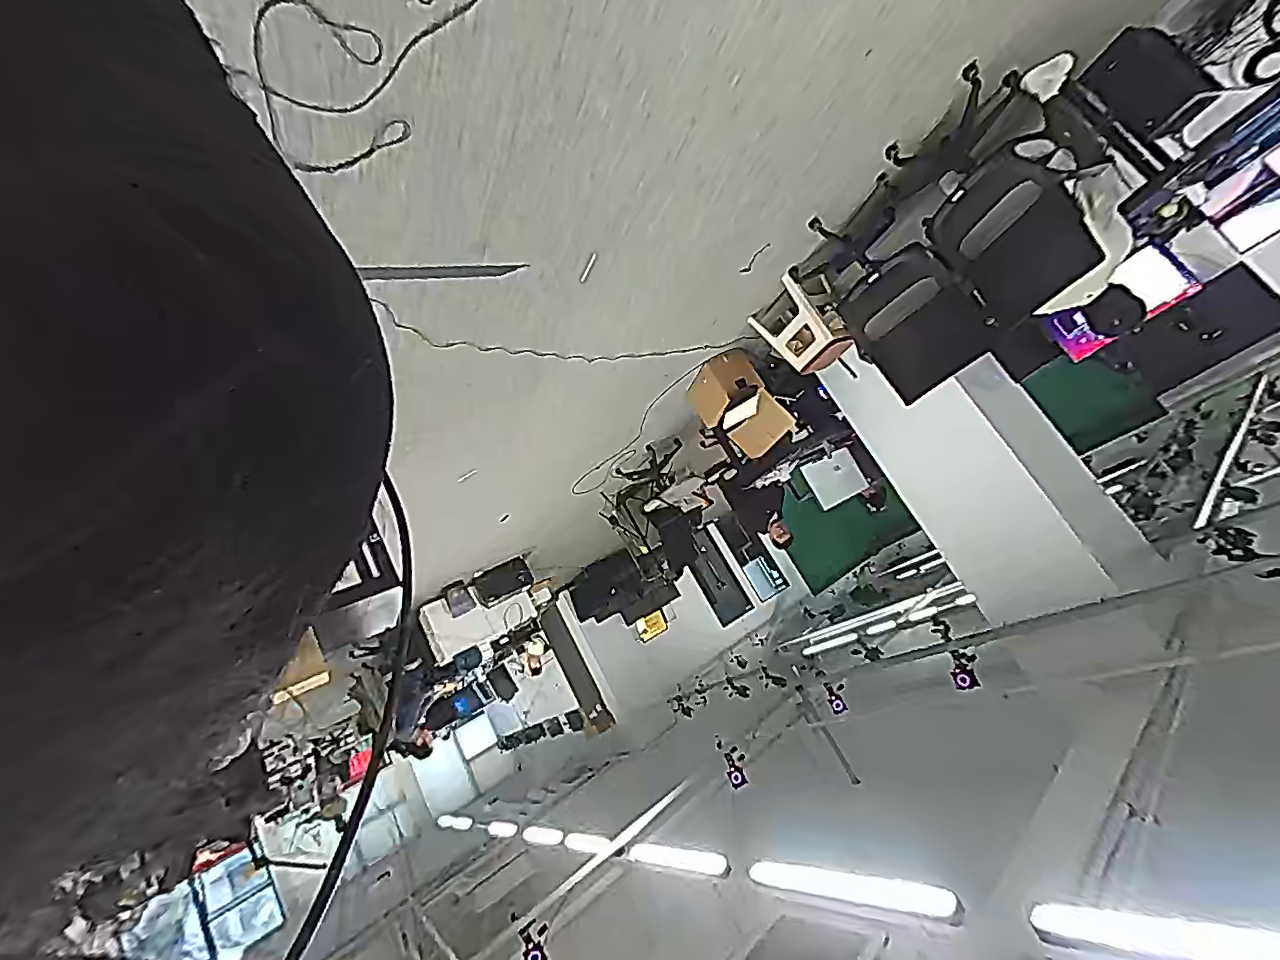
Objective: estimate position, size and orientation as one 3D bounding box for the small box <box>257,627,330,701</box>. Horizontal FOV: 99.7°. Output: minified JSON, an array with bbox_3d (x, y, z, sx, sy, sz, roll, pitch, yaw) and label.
[{"bbox_3d":[-1.159,0.612,1.812,0.168,0.176,0.179,-20,164,-35],"label":"small box"}]
